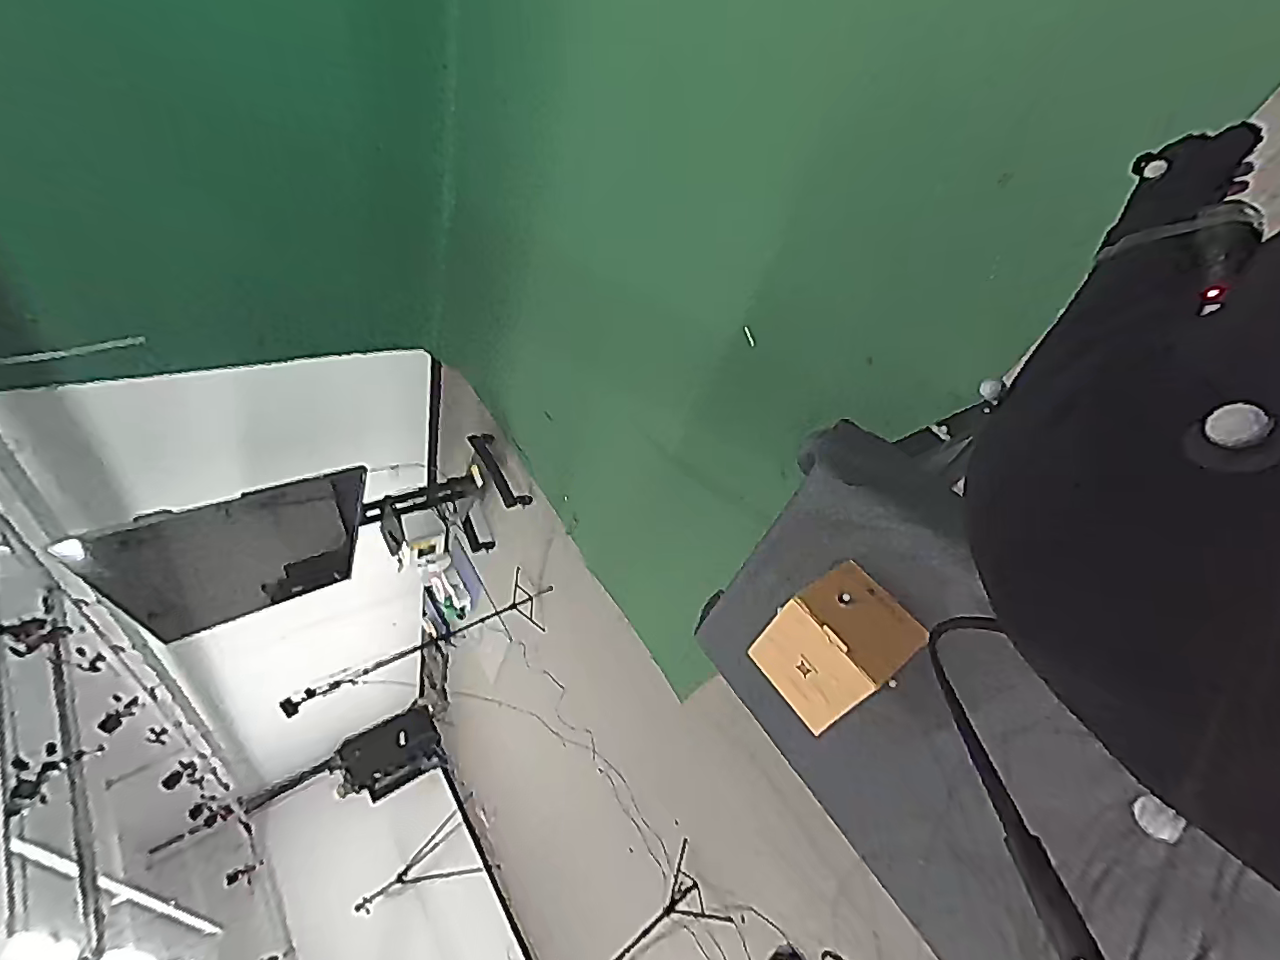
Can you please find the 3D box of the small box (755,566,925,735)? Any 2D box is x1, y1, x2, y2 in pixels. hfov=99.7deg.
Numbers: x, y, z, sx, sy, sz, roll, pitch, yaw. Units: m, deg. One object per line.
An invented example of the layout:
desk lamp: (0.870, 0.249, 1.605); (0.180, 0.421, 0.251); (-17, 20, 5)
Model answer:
small box: (0.326, 0.269, 0.881); (0.168, 0.176, 0.179); (49, 140, 29)
